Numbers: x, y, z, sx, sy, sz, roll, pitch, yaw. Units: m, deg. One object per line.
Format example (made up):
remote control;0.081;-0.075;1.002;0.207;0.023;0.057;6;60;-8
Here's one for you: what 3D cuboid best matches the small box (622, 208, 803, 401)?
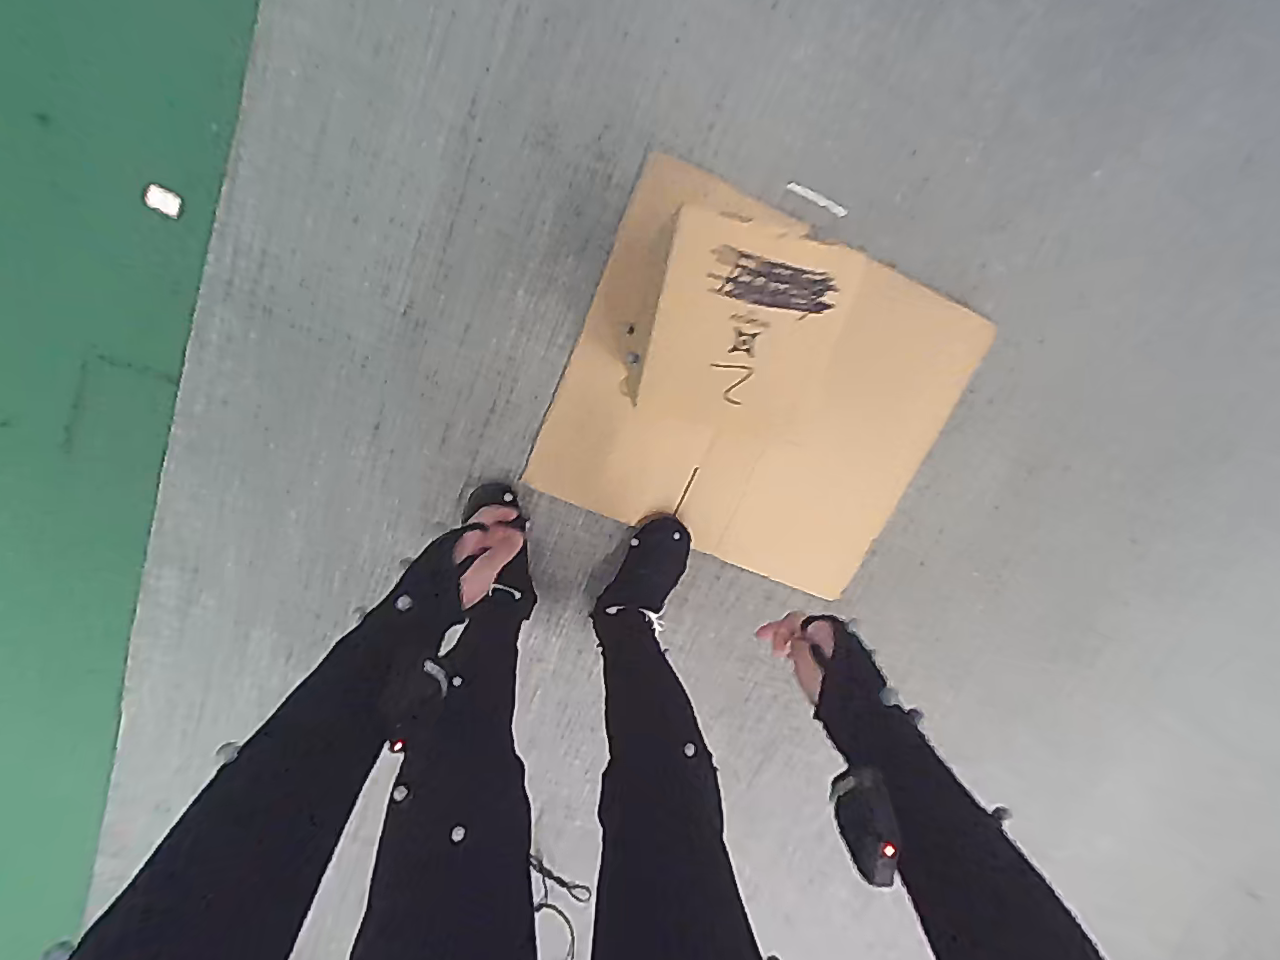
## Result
small box;0.077;-0.217;0.692;0.168;0.176;0.179;15;105;-10
